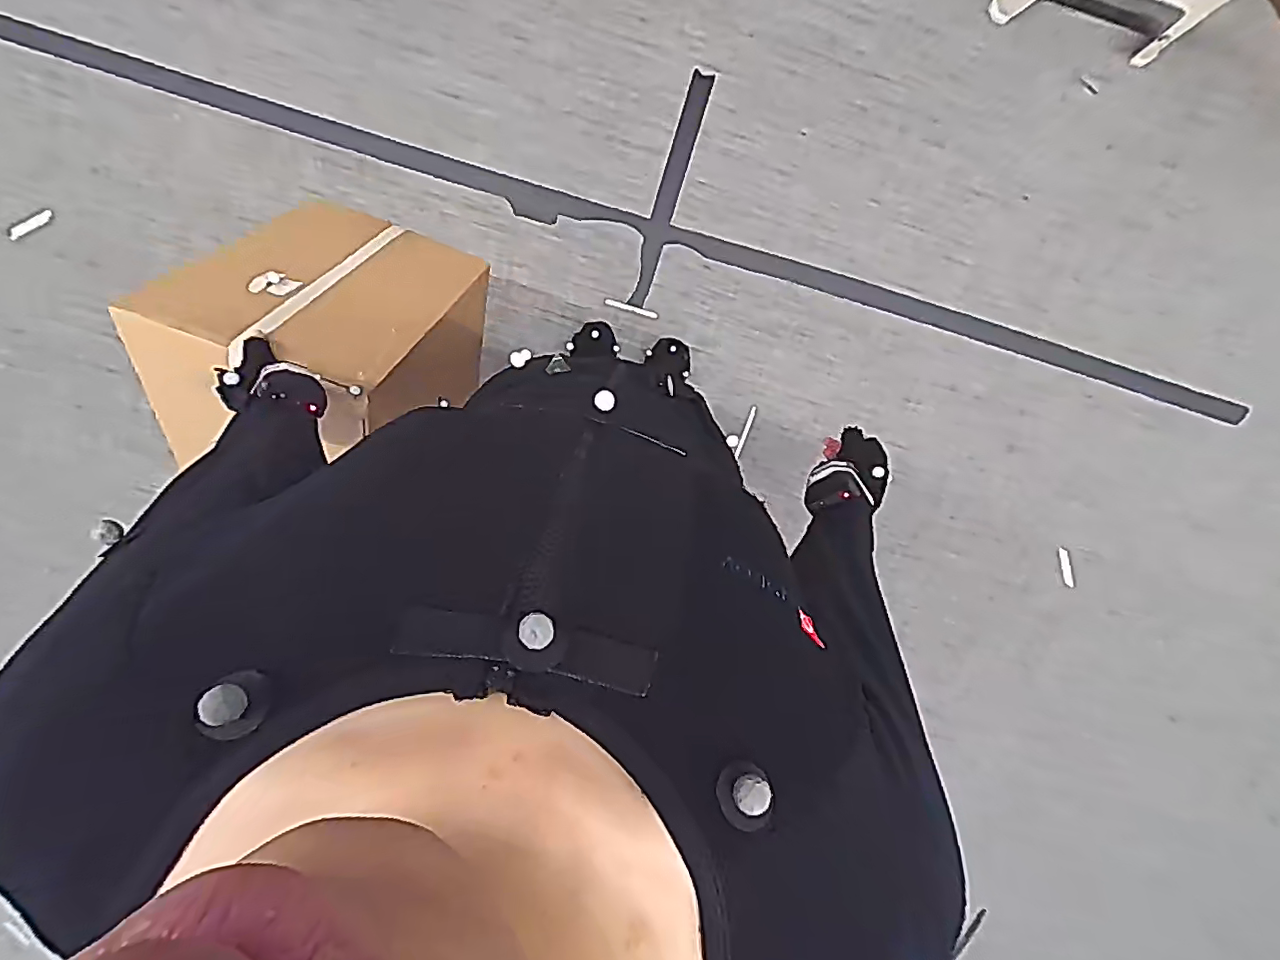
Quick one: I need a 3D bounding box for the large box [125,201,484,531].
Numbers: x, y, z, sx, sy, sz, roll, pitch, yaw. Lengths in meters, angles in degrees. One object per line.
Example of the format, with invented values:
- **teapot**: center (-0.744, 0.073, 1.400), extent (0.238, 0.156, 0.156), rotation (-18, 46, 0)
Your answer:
- **large box**: center (-0.491, -0.194, 0.907), extent (0.320, 0.408, 0.320), rotation (19, 137, -4)
